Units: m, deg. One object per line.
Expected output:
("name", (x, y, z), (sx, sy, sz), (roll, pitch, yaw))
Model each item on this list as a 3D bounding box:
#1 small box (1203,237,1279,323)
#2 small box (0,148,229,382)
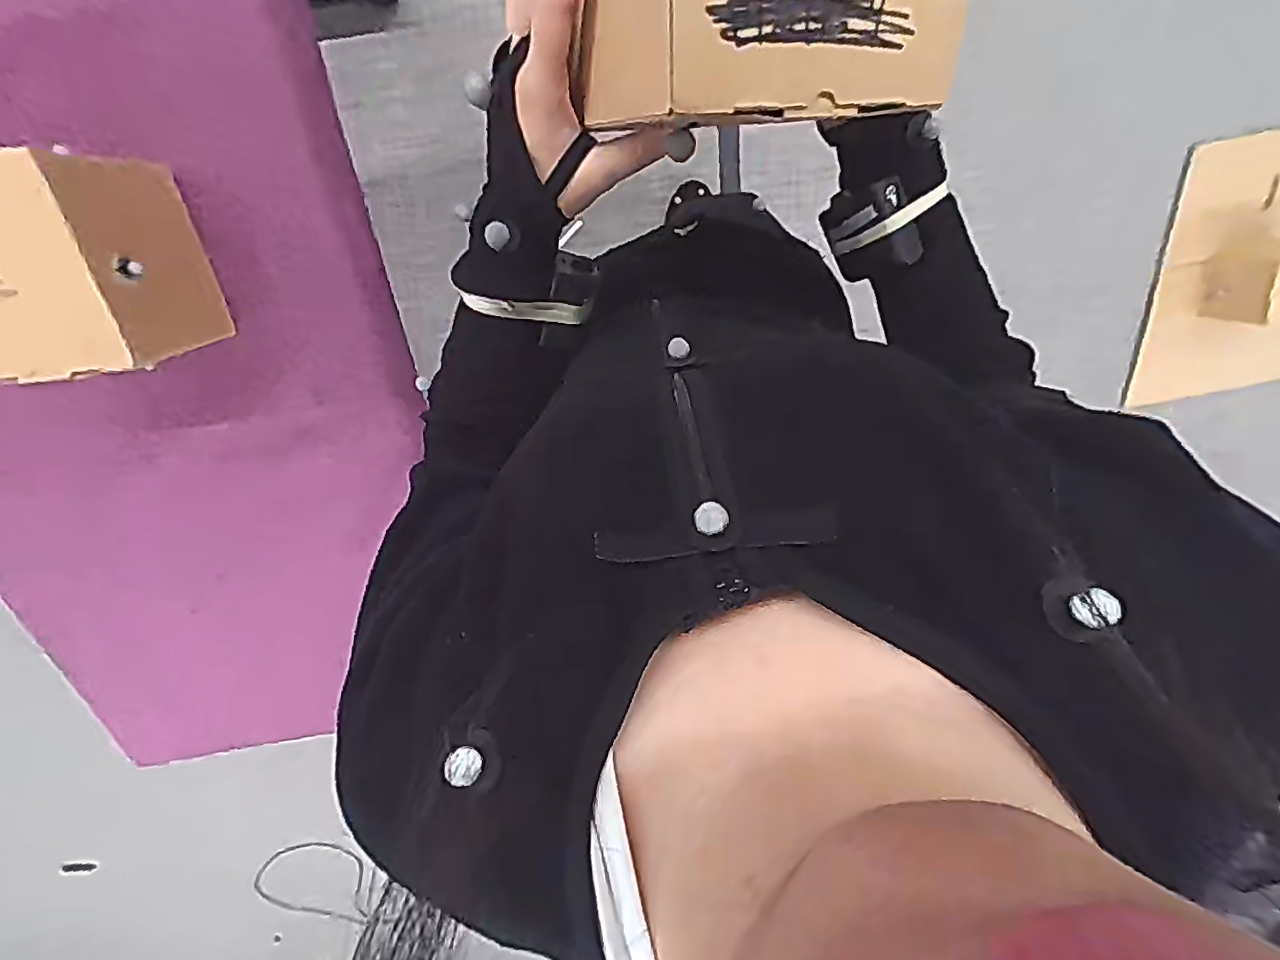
("small box", (1.654, -0.528, 1.414), (0.179, 0.176, 0.168), (-17, 114, 3))
("small box", (-0.551, -0.205, 0.521), (0.168, 0.176, 0.179), (-7, 116, -4))
